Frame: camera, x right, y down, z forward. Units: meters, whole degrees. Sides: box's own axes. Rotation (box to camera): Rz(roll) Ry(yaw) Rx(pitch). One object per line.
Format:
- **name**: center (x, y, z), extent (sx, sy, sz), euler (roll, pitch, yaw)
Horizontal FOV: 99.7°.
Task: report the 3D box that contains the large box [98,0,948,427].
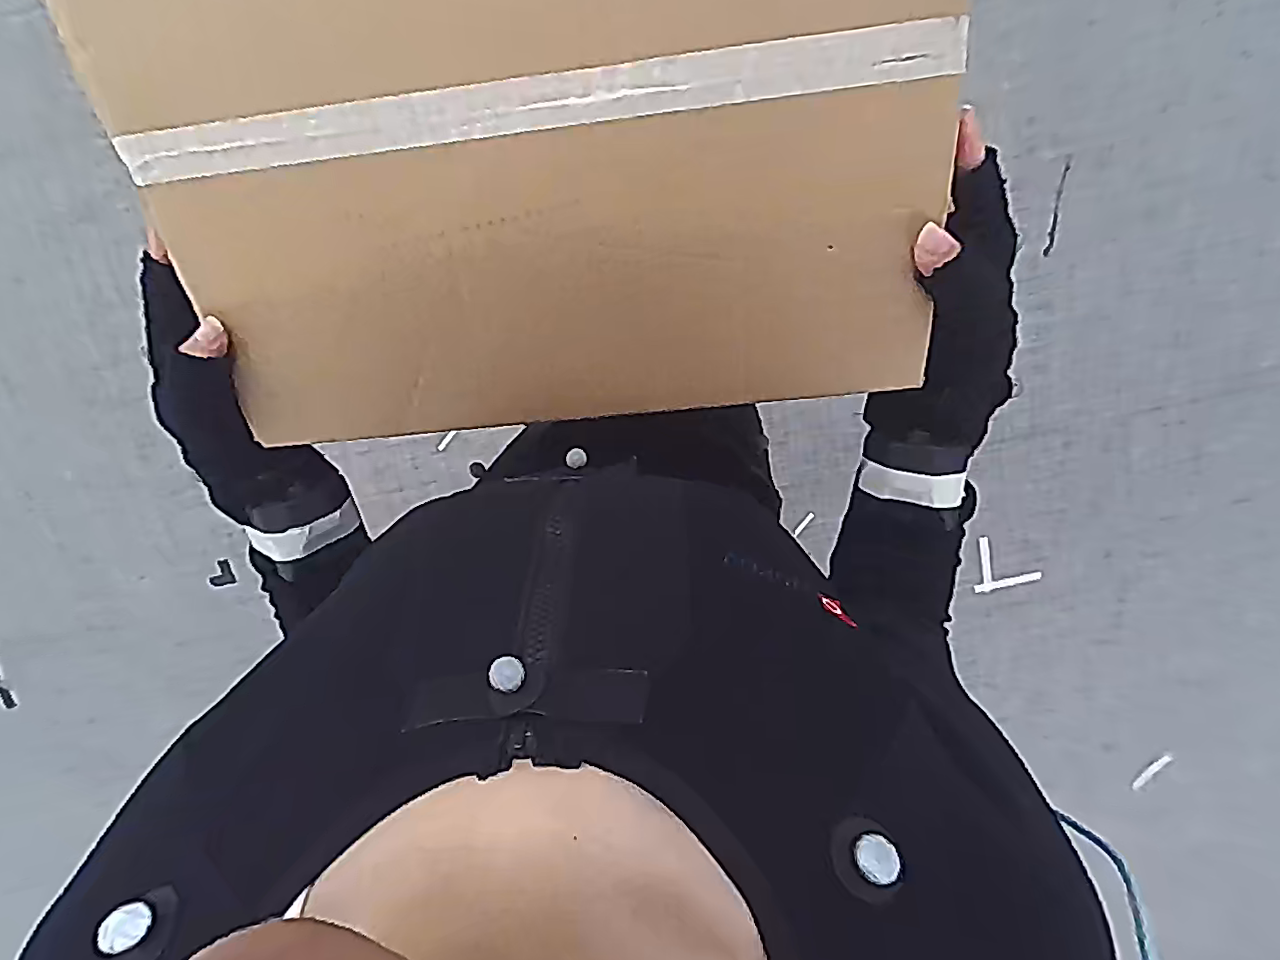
- **large box**: center (-0.051, -0.254, 0.403), extent (0.408, 0.320, 0.320), euler (-5, 117, 4)
